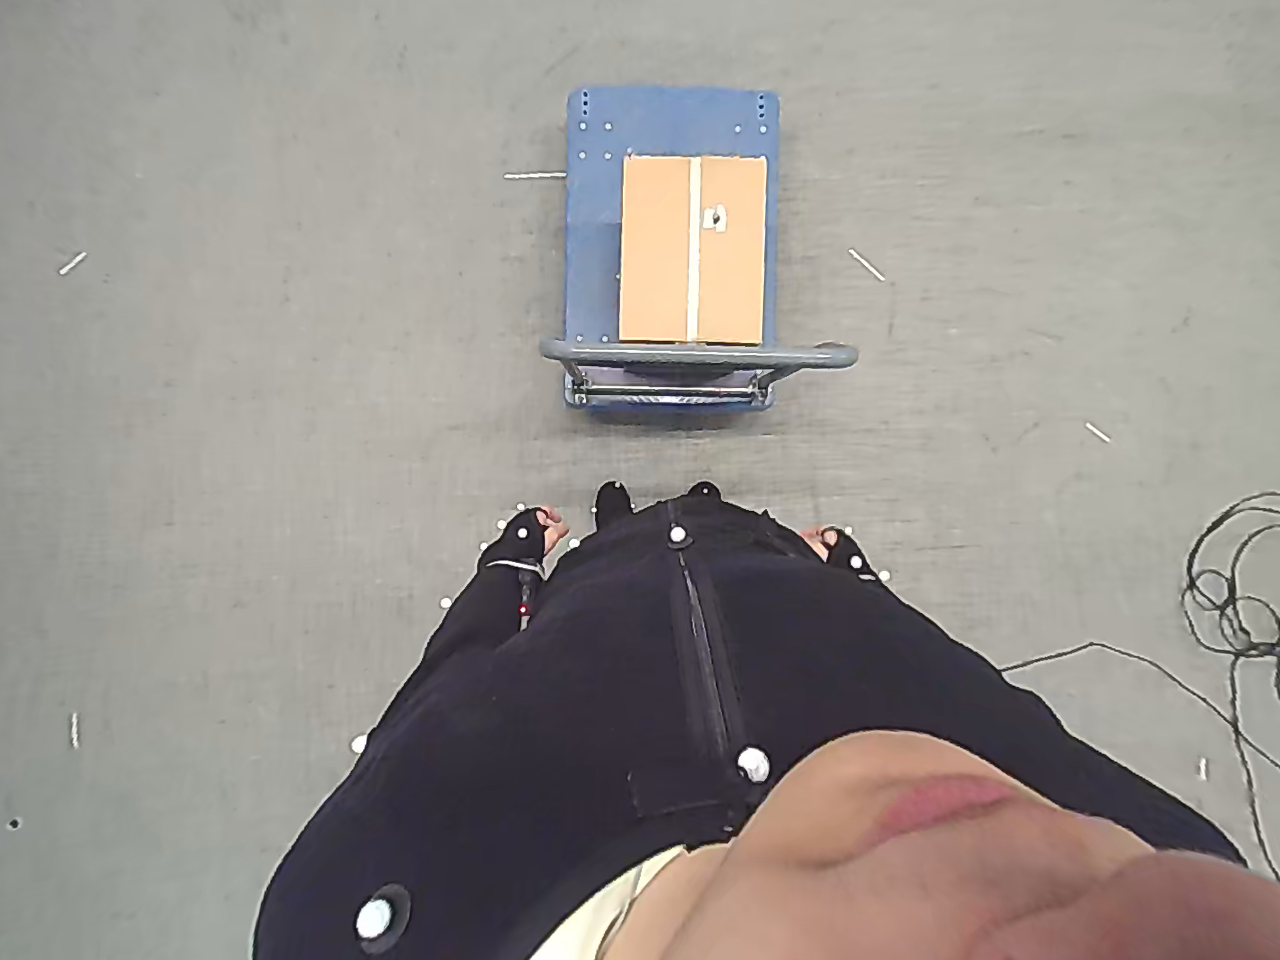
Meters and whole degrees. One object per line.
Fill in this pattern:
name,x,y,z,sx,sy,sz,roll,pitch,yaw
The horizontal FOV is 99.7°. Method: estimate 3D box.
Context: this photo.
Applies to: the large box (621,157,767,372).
large box,0.118,-0.489,1.307,0.320,0.320,0.408,1,89,-1
